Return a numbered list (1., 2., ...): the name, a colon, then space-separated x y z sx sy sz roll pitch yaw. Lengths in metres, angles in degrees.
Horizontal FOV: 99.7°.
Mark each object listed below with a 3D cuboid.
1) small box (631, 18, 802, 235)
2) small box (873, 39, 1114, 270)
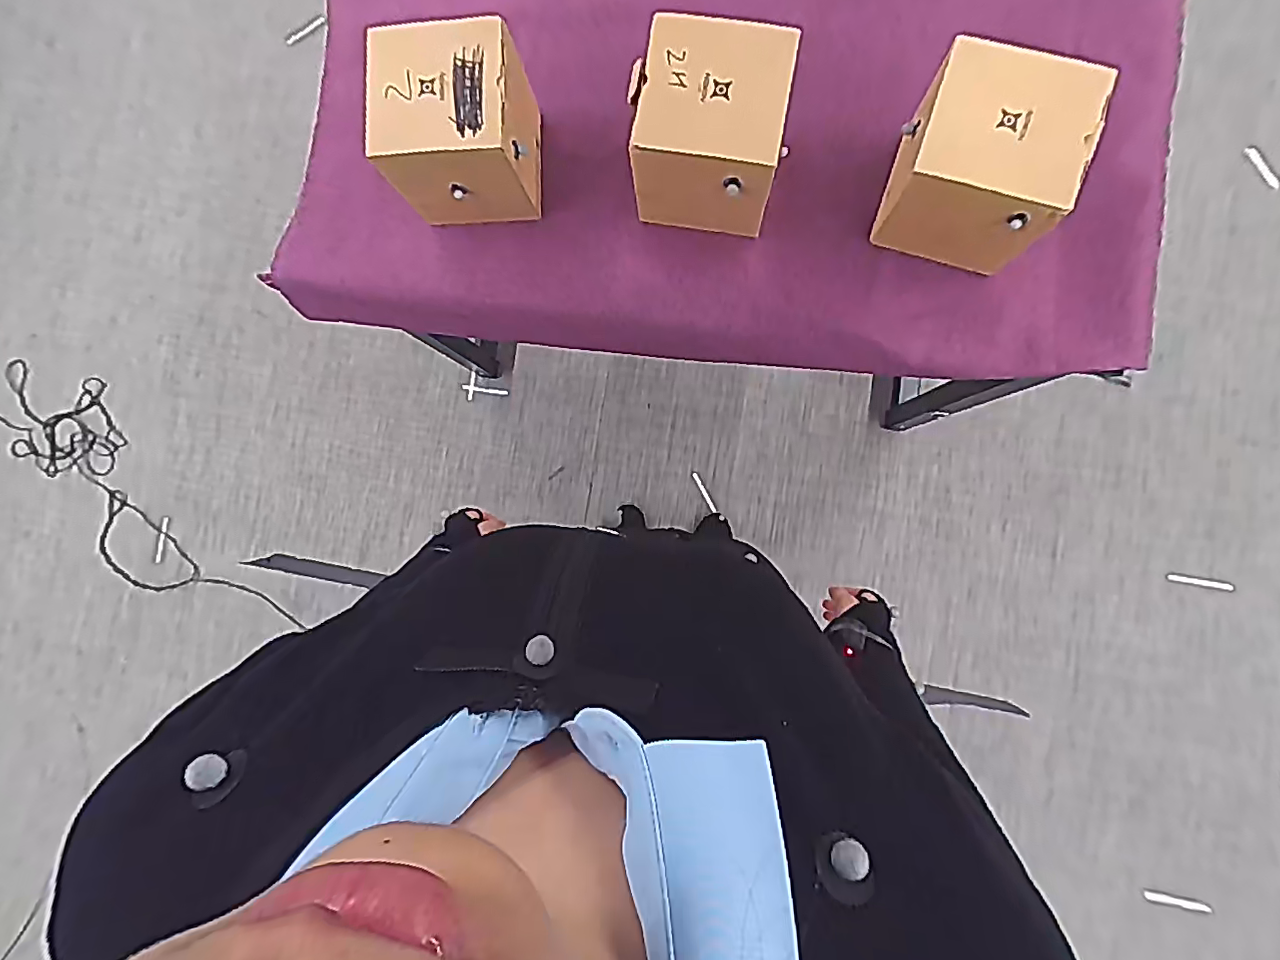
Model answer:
1. small box: 0.095 -0.445 0.707 0.179 0.176 0.168 10 88 6
2. small box: 0.419 -0.389 0.675 0.179 0.176 0.168 18 89 6
